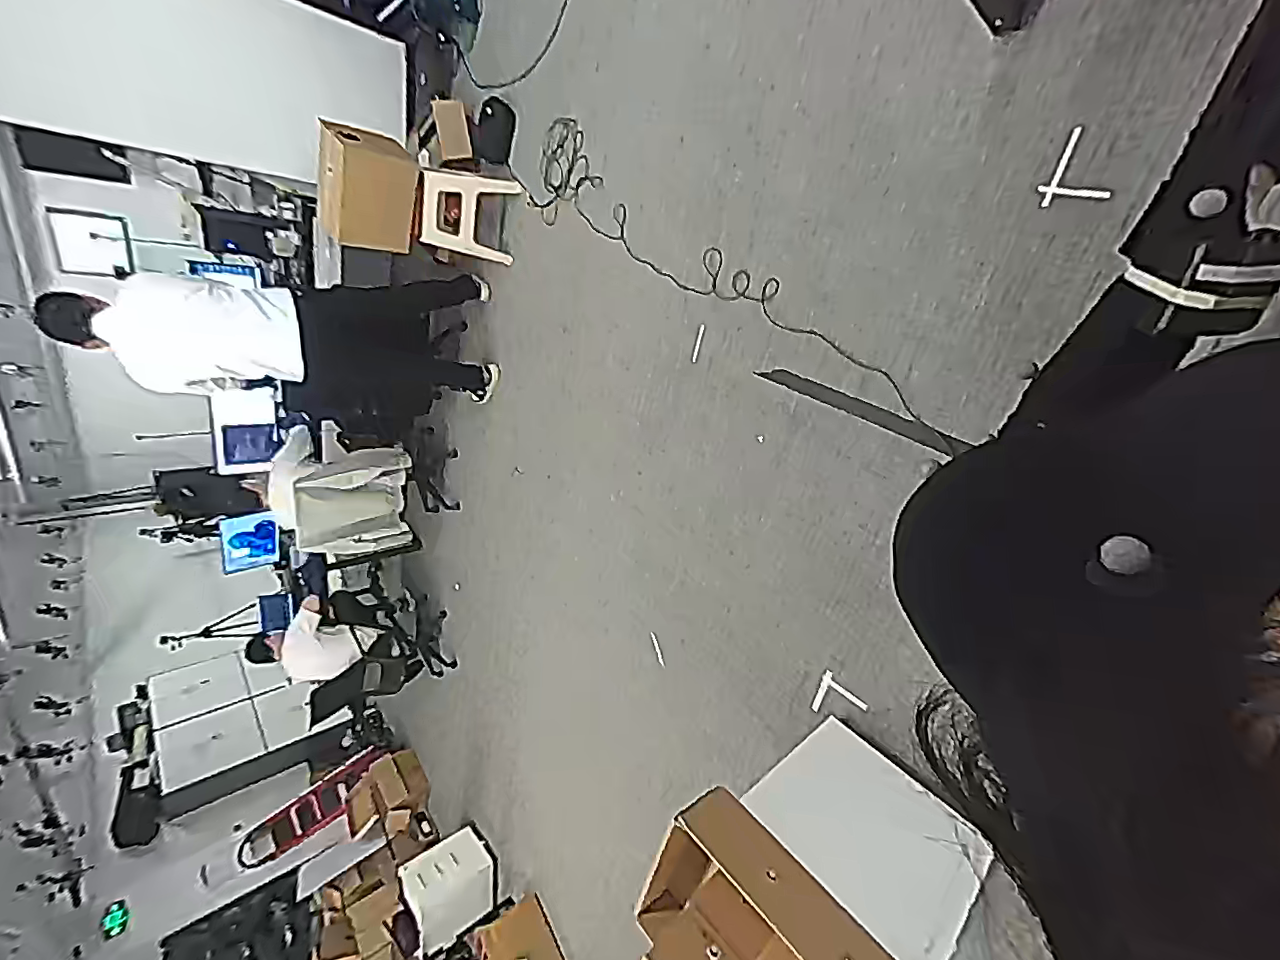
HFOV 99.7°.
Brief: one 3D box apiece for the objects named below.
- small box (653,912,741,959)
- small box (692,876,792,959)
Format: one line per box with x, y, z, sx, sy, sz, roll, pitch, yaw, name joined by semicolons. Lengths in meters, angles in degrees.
0.111;1.083;1.139;0.168;0.176;0.179;30;113;35;small box
0.220;1.076;1.261;0.179;0.176;0.168;32;115;37;small box
